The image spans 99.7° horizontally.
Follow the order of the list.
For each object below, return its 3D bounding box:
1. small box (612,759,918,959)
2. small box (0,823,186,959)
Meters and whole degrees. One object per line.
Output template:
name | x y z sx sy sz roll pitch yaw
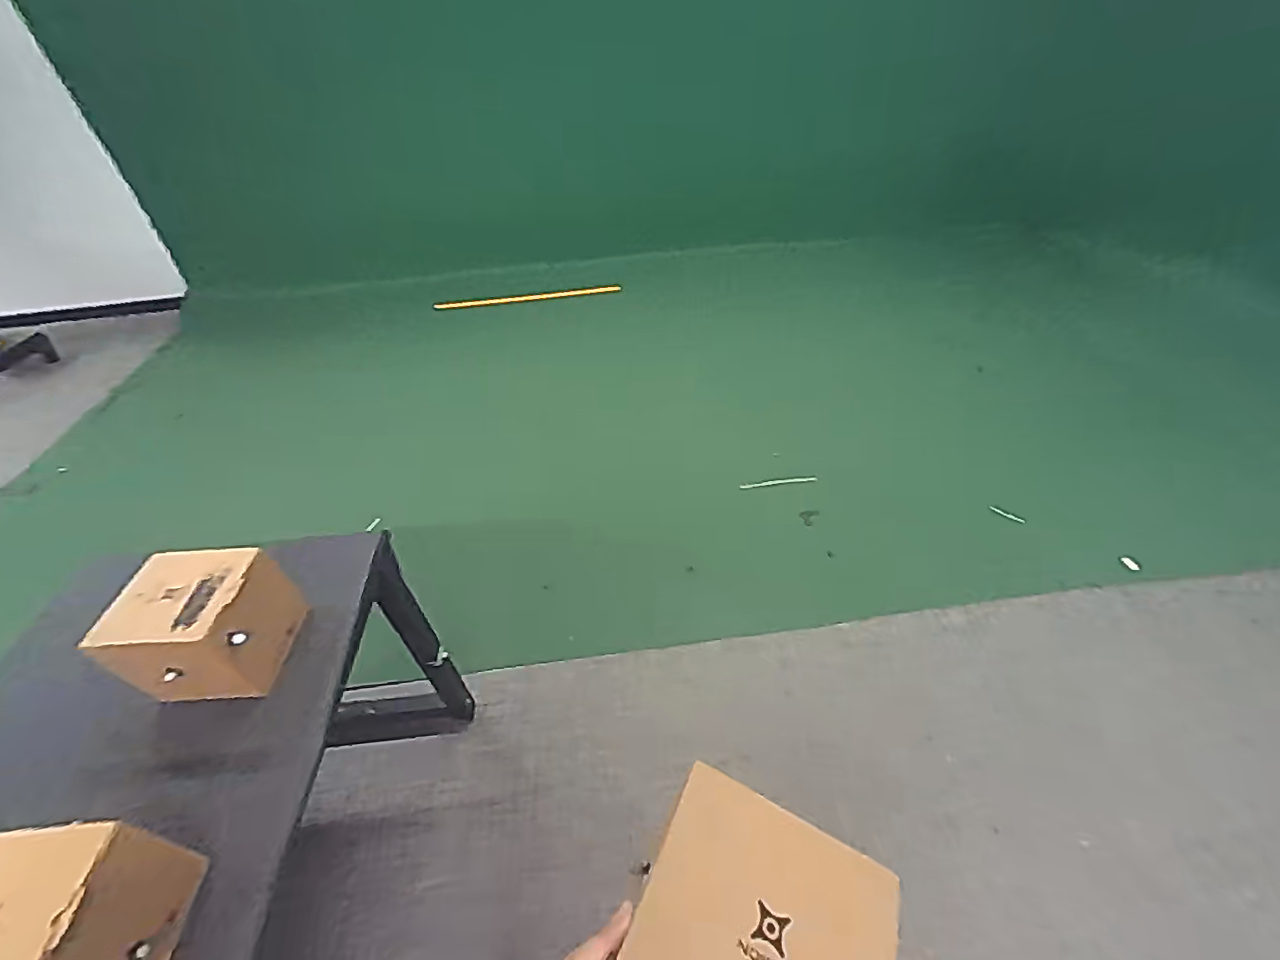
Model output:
small box | 0.074 0.355 0.389 0.168 0.176 0.179 26 38 13
small box | -0.628 0.471 0.542 0.179 0.176 0.168 -4 42 -3
